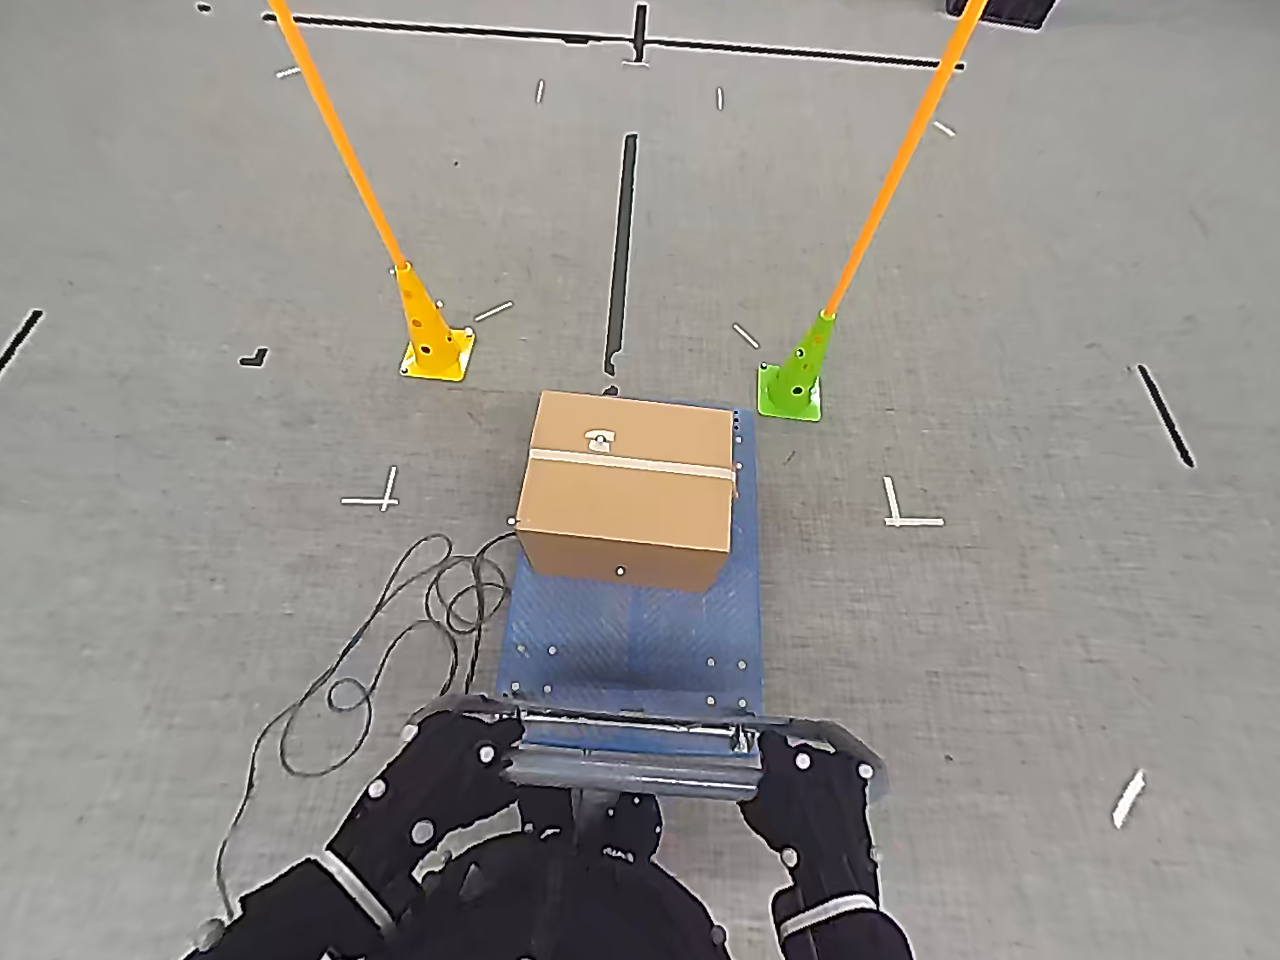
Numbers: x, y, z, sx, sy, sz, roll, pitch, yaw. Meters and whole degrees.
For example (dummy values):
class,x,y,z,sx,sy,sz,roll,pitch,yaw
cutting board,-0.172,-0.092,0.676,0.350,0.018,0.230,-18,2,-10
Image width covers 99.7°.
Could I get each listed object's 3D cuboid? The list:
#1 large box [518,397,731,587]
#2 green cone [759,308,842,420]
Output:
class,x,y,z,sx,sy,sz,roll,pitch,yaw
large box,-0.022,0.041,1.207,0.408,0.320,0.320,6,64,1
green cone,0.498,-0.360,1.592,0.202,0.368,0.200,7,64,-1
